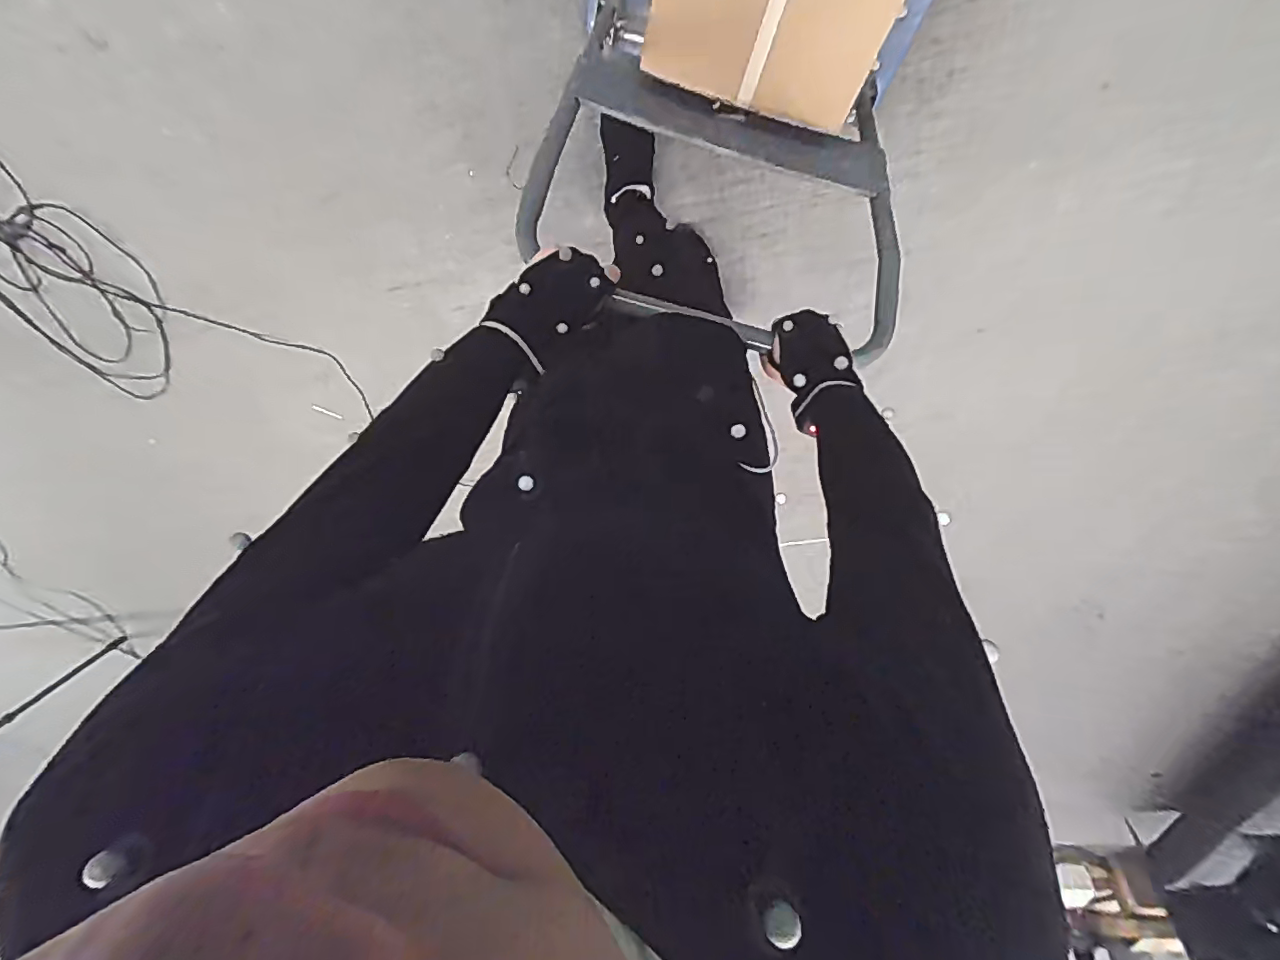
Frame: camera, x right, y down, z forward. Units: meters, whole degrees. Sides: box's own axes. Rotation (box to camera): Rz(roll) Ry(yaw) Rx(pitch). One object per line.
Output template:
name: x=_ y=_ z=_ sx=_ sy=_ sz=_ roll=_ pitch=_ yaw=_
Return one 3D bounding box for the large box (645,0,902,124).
large box: x=0.214 y=-0.788 z=0.716 sx=0.320 sy=0.320 sz=0.408 roll=13 pitch=144 yaw=-6
